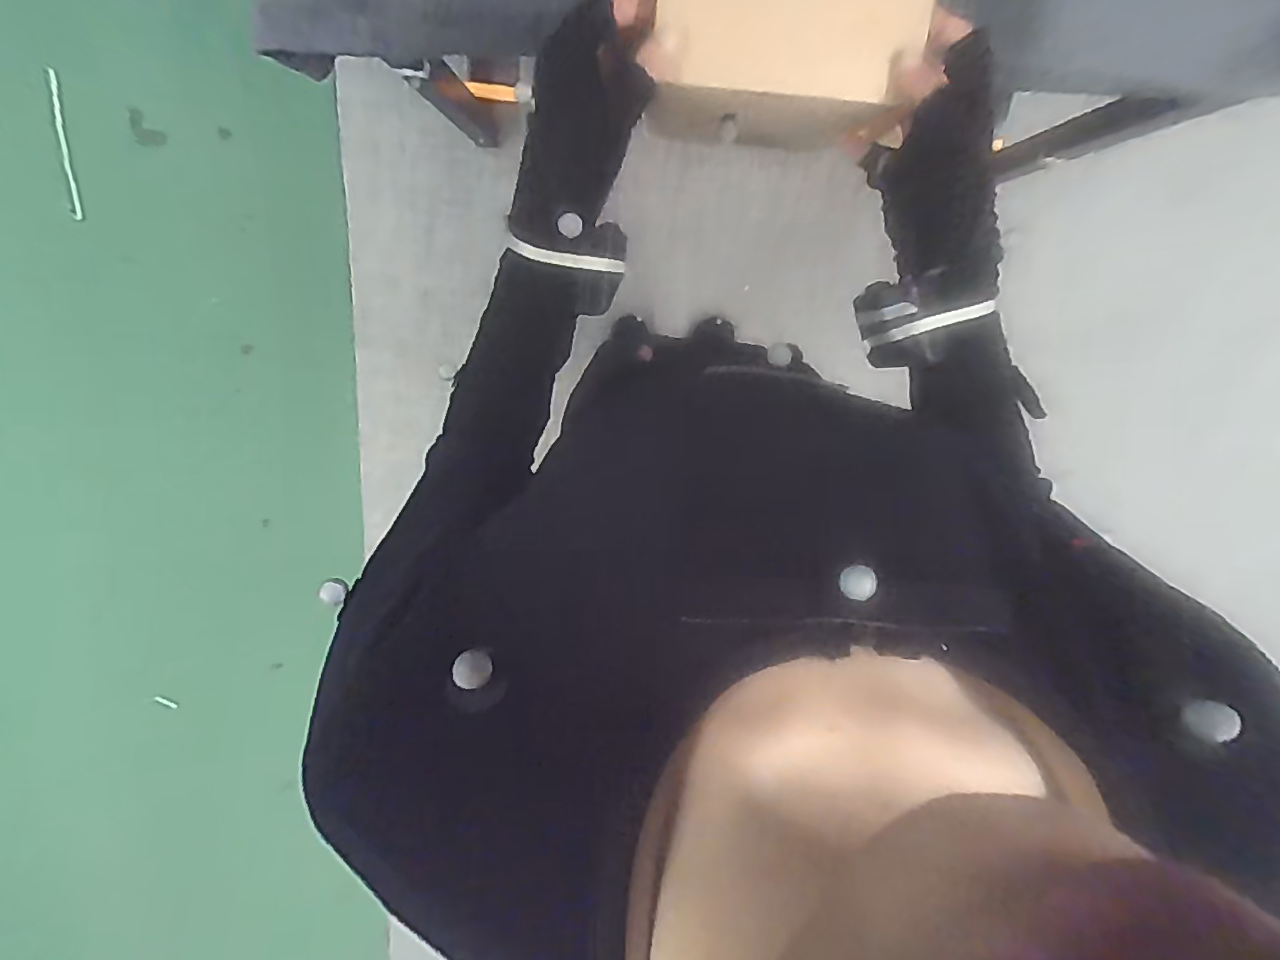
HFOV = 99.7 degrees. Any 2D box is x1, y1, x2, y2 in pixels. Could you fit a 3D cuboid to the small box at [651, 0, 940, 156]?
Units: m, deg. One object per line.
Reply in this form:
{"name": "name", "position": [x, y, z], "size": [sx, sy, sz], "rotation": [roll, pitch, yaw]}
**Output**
{"name": "small box", "position": [0.097, -0.344, 0.377], "size": [0.168, 0.176, 0.179], "rotation": [4, 110, -2]}
